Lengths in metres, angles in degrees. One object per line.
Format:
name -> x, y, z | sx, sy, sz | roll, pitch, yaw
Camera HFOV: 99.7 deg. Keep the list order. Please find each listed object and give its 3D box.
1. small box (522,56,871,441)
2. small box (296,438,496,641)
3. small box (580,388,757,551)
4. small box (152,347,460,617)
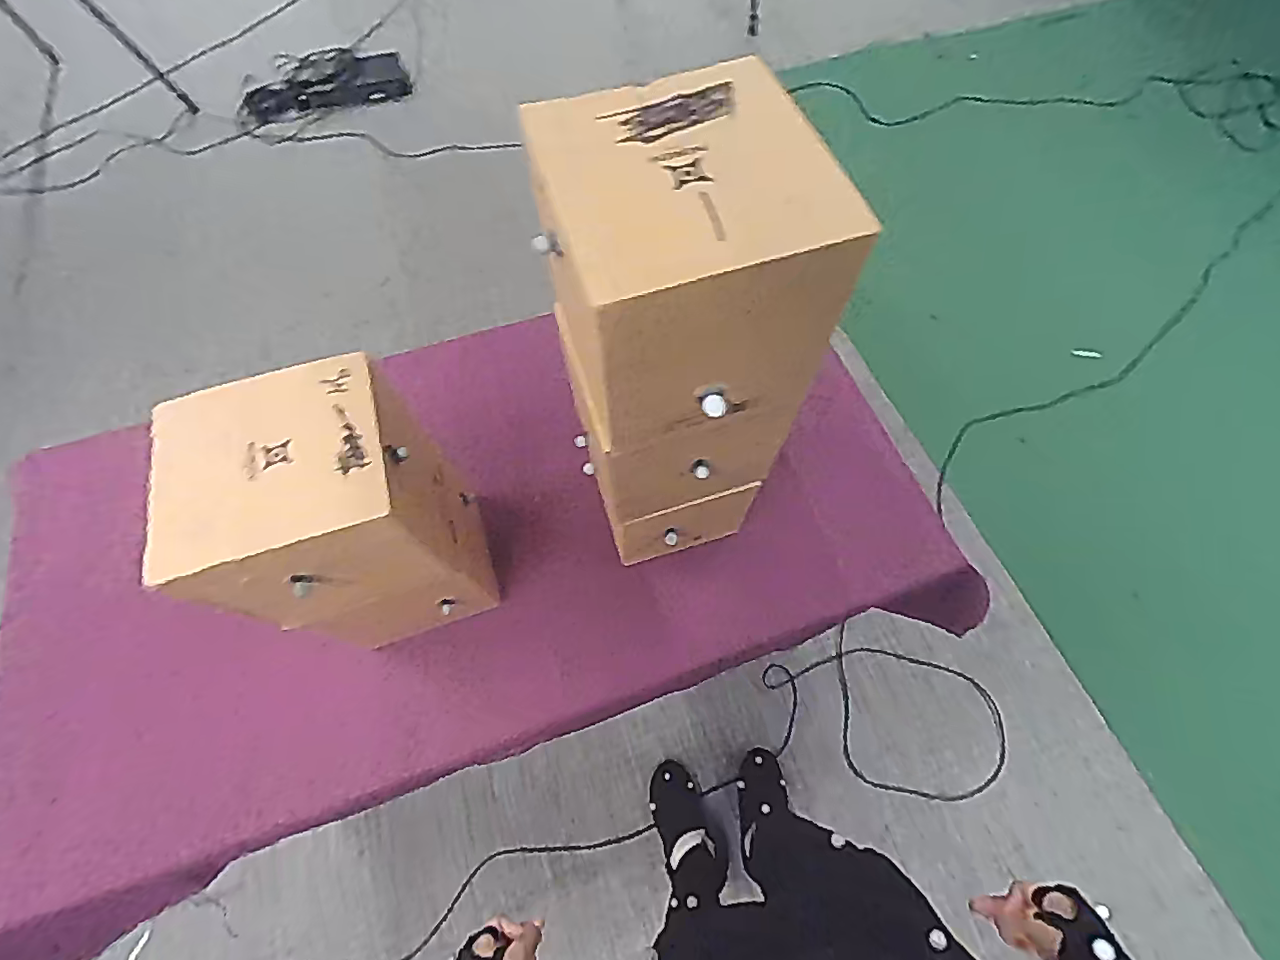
small box -> 0.027, -0.157, 0.395 | 0.168, 0.176, 0.179 | -18, 66, -6
small box -> -0.285, 0.079, 0.652 | 0.179, 0.176, 0.168 | -18, 65, -7
small box -> 0.032, -0.021, 0.696 | 0.168, 0.176, 0.179 | -17, 65, -7
small box -> -0.290, 0.012, 0.502 | 0.179, 0.176, 0.168 | -18, 66, -7
